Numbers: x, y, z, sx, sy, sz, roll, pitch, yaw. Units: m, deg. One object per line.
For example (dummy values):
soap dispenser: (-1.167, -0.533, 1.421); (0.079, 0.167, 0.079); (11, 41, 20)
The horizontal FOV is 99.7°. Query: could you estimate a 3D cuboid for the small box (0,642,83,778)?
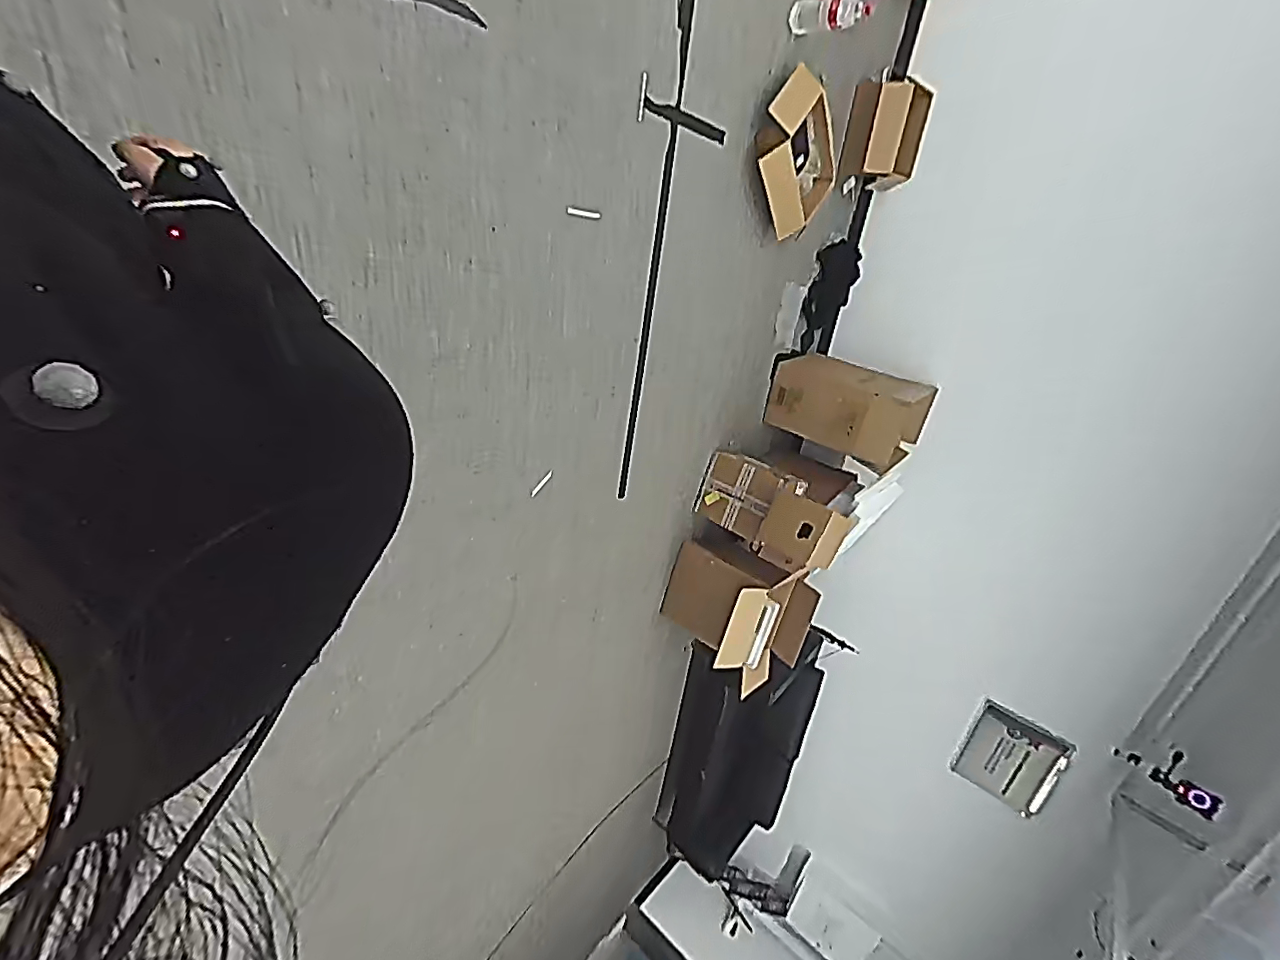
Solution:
small box: (-1.266, 0.461, 1.076); (0.168, 0.176, 0.179); (-27, 132, -44)
